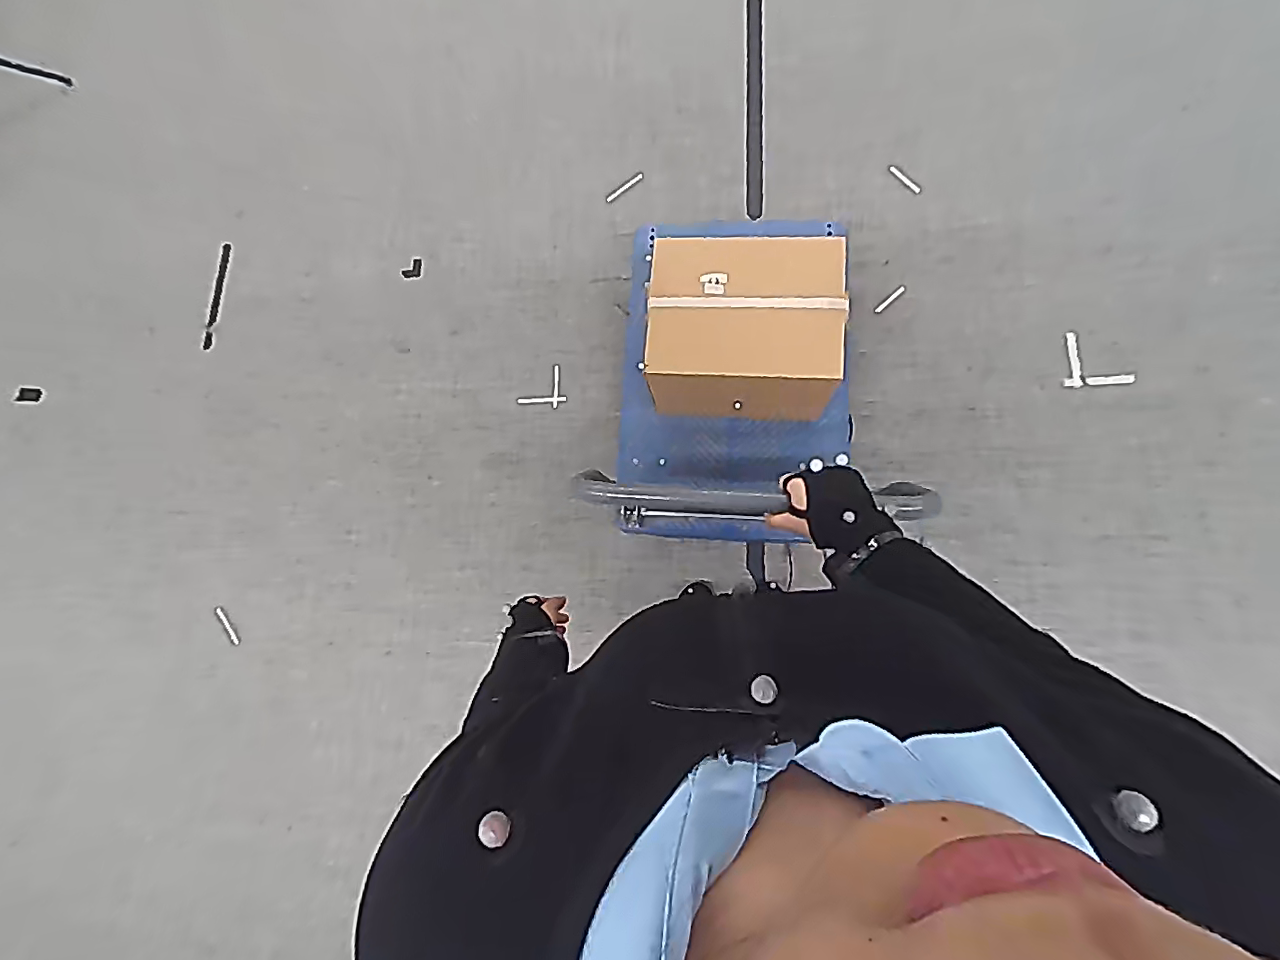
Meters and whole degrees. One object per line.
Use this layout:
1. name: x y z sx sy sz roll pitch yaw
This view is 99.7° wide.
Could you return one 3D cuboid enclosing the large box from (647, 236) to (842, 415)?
1. large box: 0.244 -0.345 1.289 0.408 0.320 0.320 2 80 9
